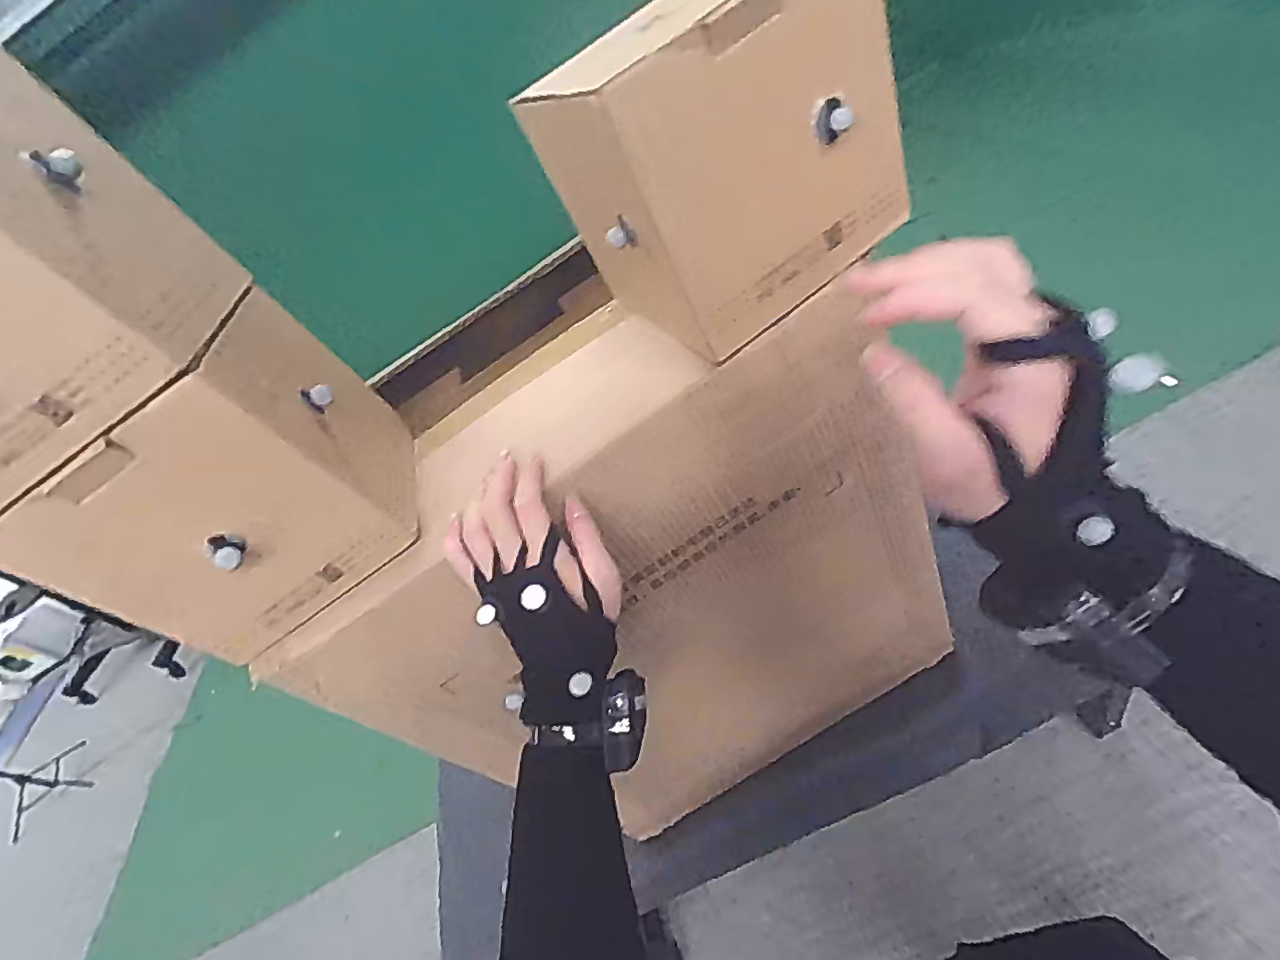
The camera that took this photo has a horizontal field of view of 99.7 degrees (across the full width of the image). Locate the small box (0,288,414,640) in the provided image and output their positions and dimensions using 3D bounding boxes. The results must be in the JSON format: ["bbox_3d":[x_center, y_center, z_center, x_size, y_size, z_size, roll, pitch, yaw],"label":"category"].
[{"bbox_3d":[-0.292,-0.005,0.406,0.168,0.176,0.179,-35,41,2],"label":"small box"}]

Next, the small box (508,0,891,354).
[{"bbox_3d":[0.042,-0.212,0.370,0.168,0.176,0.179,-36,39,-4],"label":"small box"}]

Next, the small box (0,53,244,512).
[{"bbox_3d":[-0.368,-0.105,0.299,0.168,0.176,0.179,-35,41,3],"label":"small box"}]
